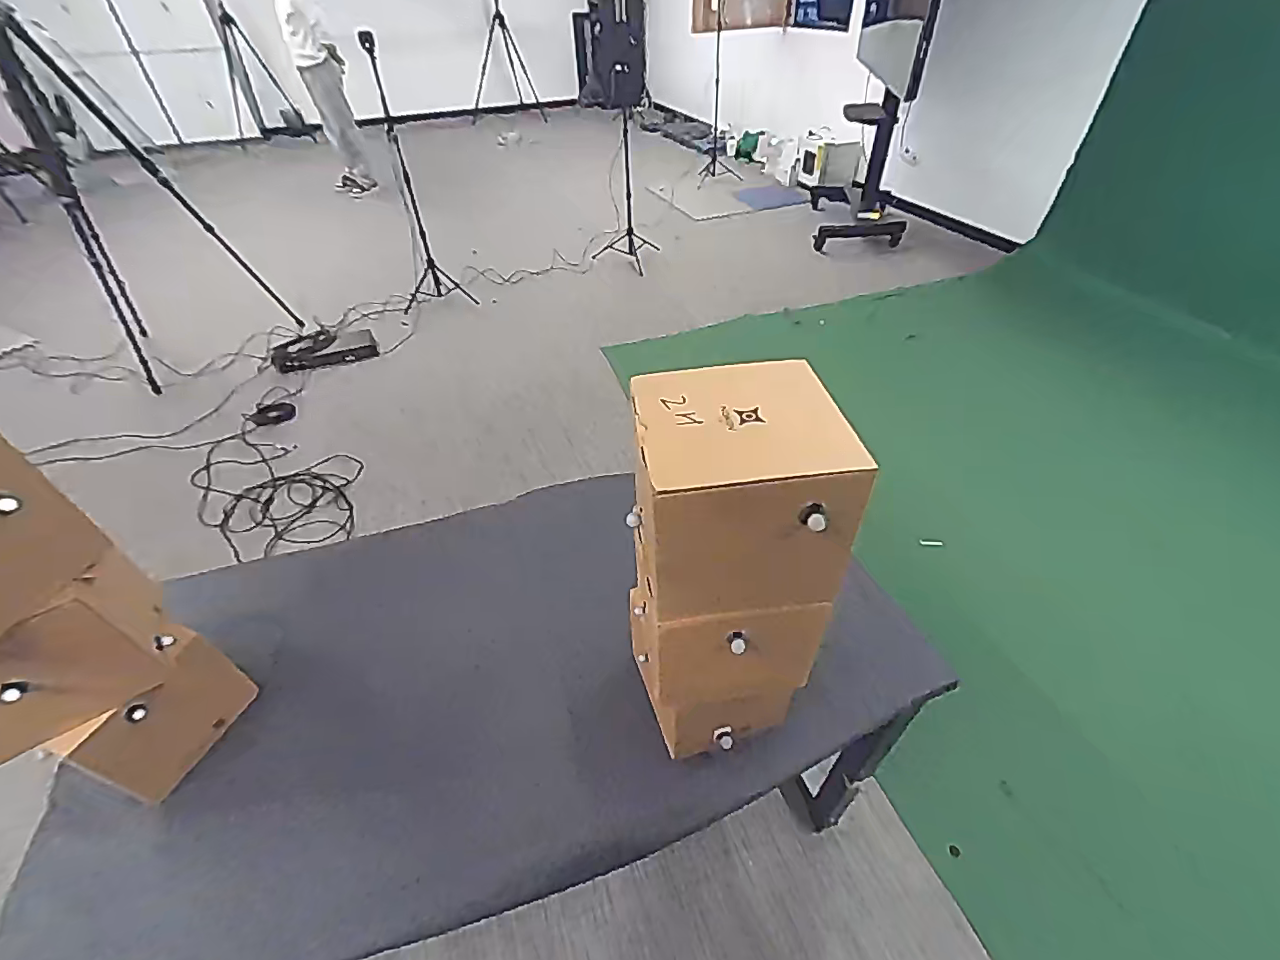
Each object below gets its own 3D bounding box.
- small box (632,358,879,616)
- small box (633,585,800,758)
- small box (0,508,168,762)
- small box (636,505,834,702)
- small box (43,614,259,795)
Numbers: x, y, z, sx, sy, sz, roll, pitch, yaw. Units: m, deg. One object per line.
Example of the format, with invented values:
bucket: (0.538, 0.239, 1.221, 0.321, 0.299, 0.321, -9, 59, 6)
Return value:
small box: (0.089, 0.007, 0.510, 0.179, 0.176, 0.168, -7, 42, -3)
small box: (0.094, 0.241, 0.739, 0.168, 0.176, 0.179, -15, 44, -12)
small box: (-0.673, 0.170, 0.604, 0.179, 0.176, 0.168, -30, 51, -26)
small box: (0.094, 0.131, 0.619, 0.179, 0.176, 0.168, -8, 43, -4)
small box: (-0.671, 0.287, 0.720, 0.179, 0.176, 0.168, 14, 46, 15)
